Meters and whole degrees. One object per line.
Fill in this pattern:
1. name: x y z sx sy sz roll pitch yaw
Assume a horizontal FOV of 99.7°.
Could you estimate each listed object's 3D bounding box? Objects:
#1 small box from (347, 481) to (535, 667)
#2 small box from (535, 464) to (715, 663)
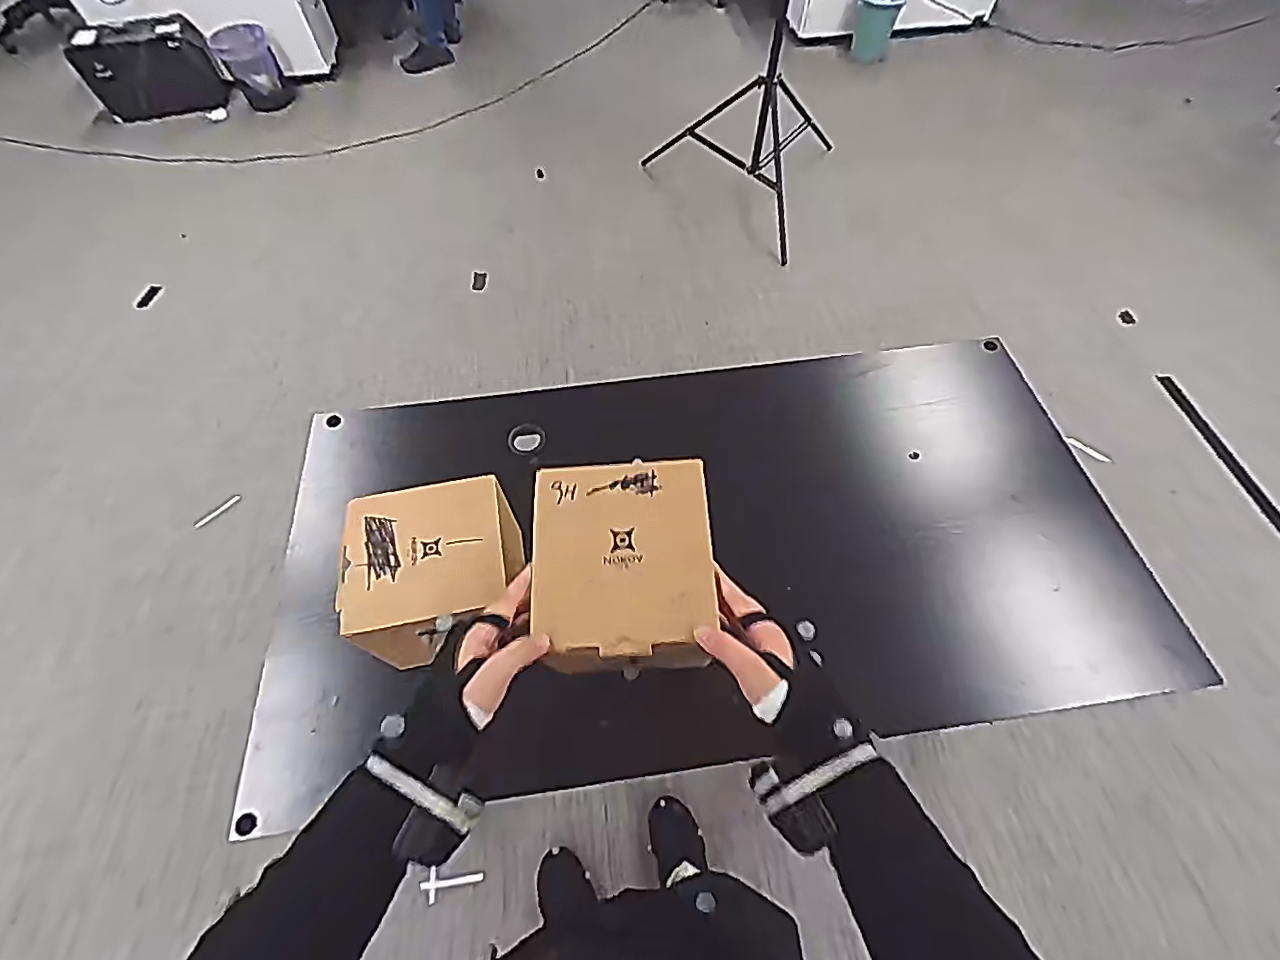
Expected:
1. small box: -0.240 0.125 0.687 0.179 0.176 0.168 -10 60 -7
2. small box: -0.011 0.100 0.582 0.168 0.176 0.179 -4 66 2
